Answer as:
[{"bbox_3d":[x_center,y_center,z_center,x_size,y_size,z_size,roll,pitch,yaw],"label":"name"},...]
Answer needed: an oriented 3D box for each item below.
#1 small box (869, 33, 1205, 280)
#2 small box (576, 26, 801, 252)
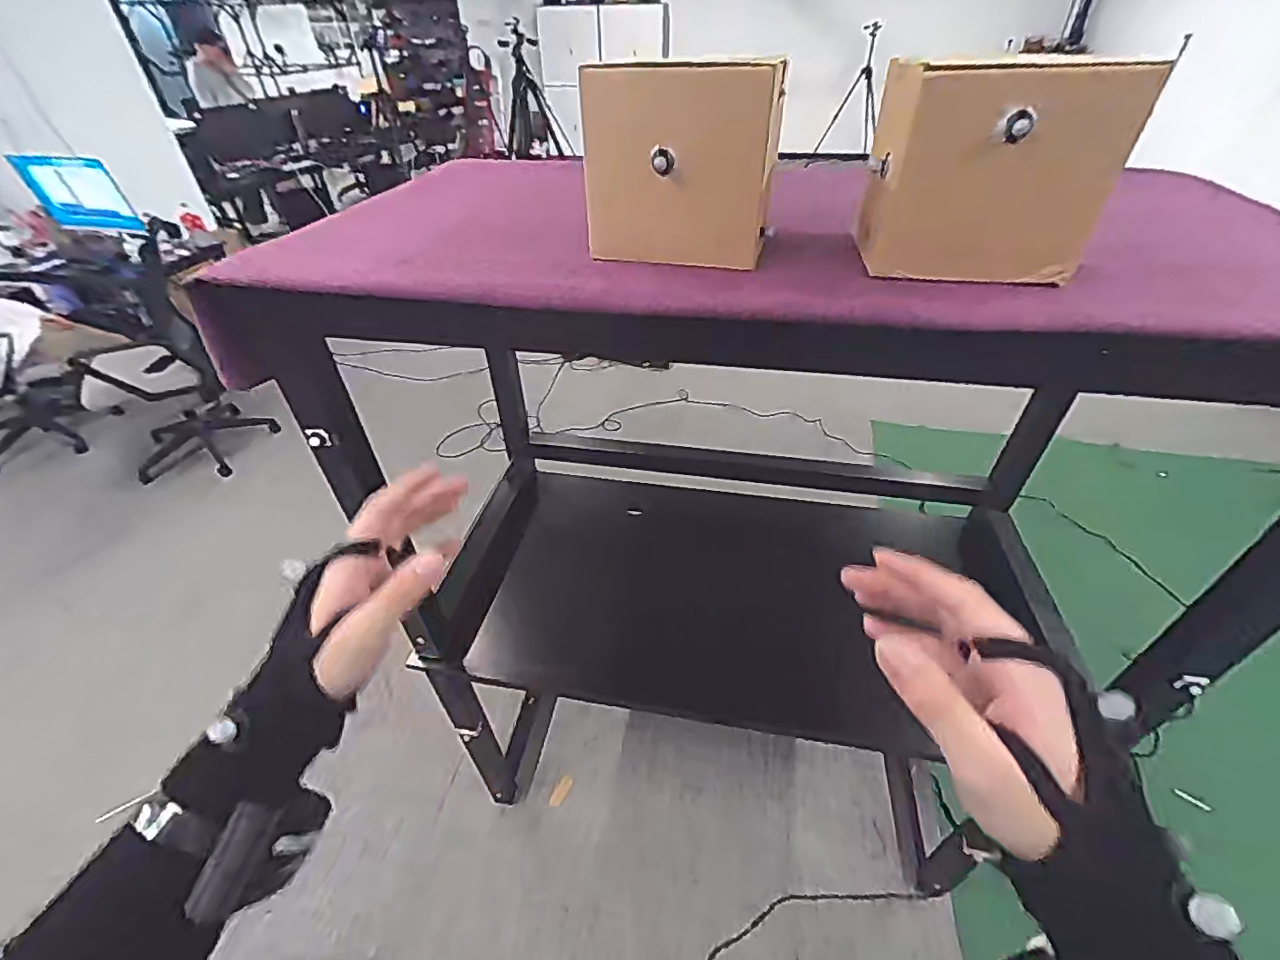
[{"bbox_3d":[0.319,-0.294,0.491,0.179,0.176,0.168,9,41,10],"label":"small box"},{"bbox_3d":[0.052,-0.341,0.542,0.179,0.176,0.168,11,41,13],"label":"small box"}]
